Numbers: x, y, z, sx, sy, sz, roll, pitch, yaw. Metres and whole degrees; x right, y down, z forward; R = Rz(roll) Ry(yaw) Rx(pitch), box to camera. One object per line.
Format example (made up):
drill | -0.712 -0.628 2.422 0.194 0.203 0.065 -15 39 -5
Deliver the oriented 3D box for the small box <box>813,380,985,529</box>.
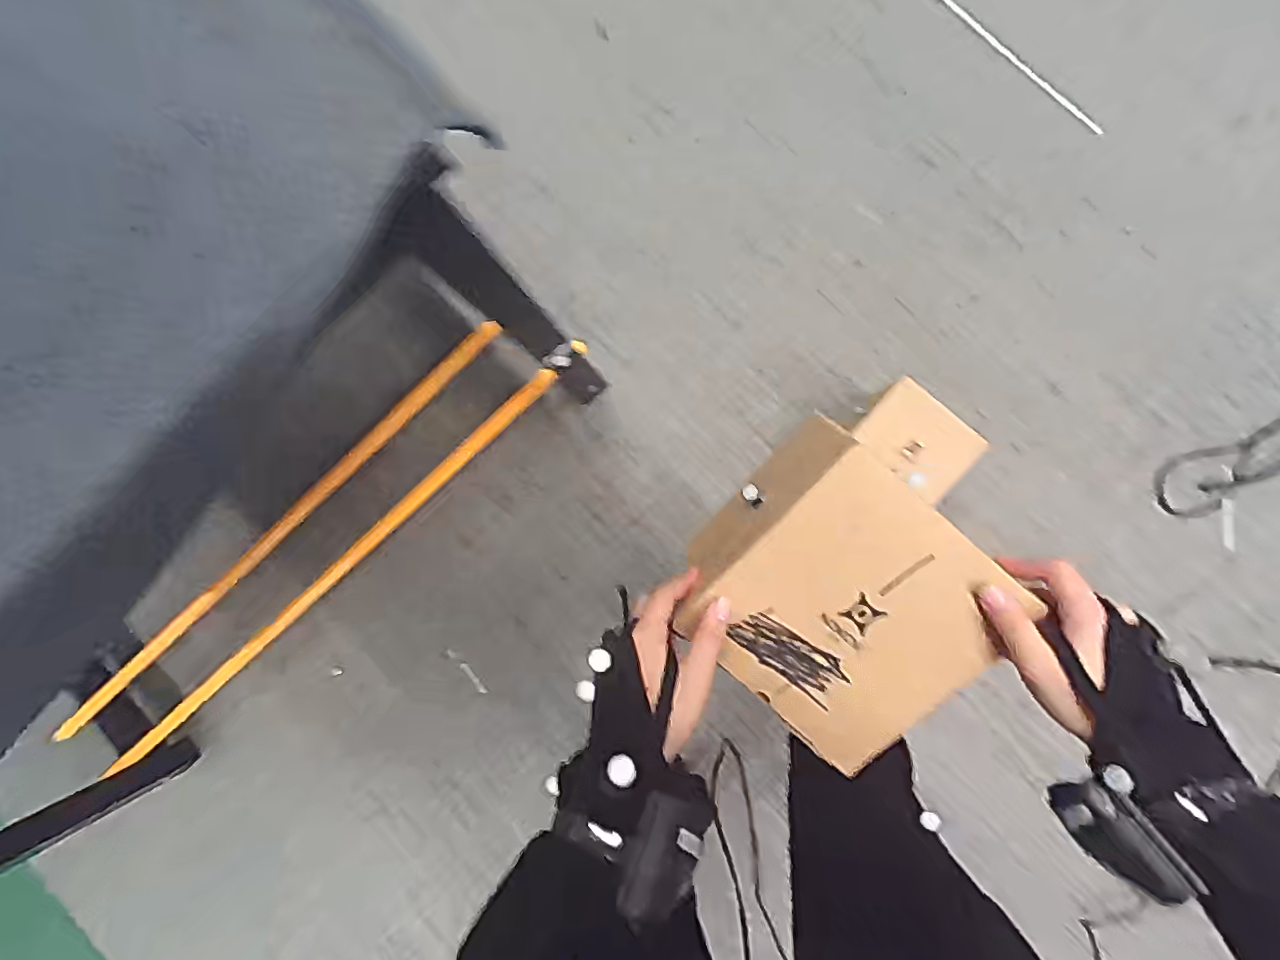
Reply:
small box | 0.421 -0.039 0.916 0.168 0.176 0.179 42 93 6
